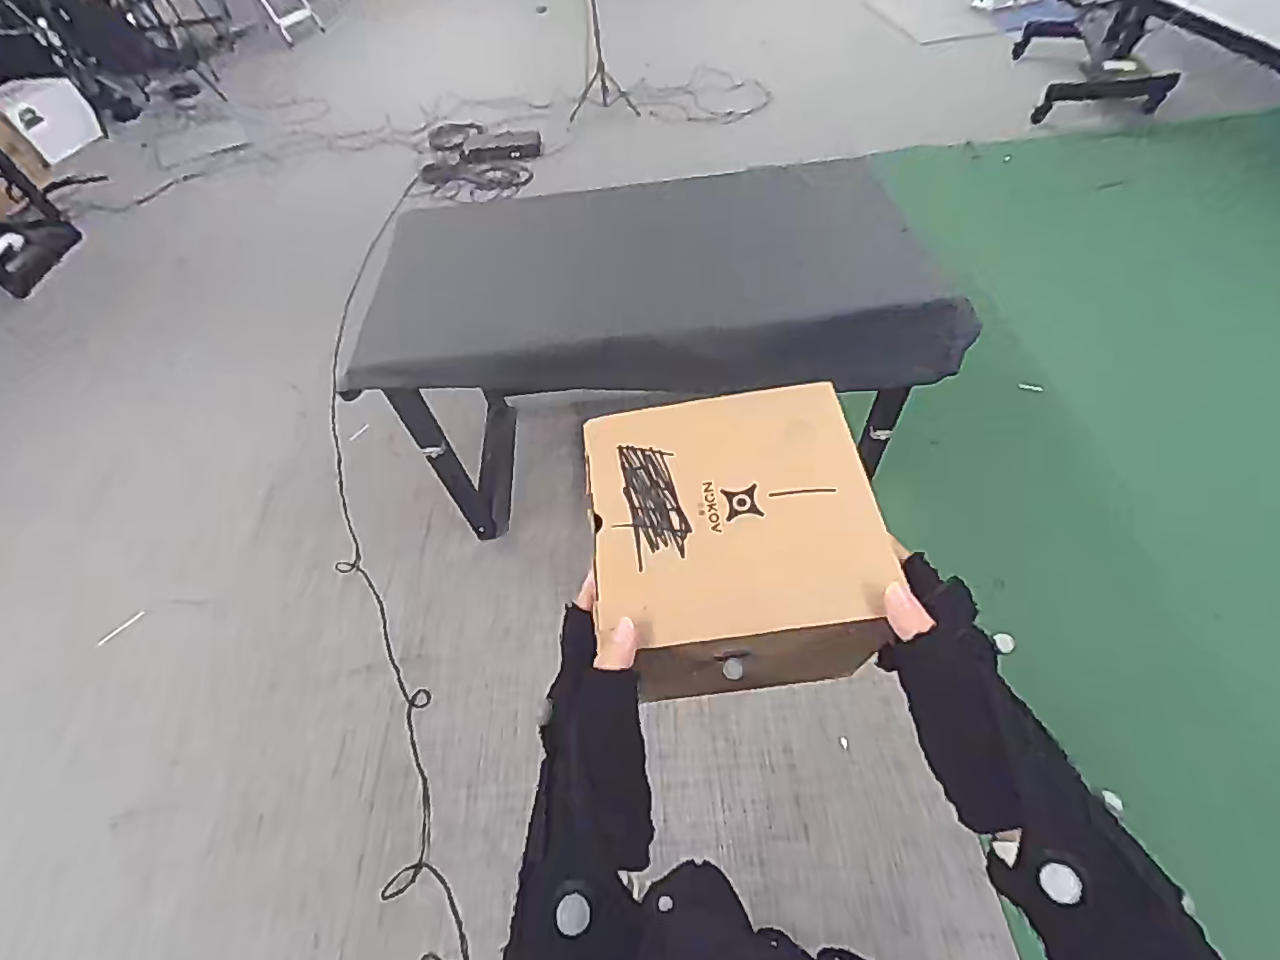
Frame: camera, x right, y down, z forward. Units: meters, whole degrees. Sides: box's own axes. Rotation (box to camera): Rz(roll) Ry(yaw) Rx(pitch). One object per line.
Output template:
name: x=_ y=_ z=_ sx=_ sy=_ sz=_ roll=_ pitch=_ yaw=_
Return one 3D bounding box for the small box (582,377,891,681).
small box: x=0.060 y=0.048 z=0.416 sx=0.179 sy=0.176 sz=0.168 roll=-8 pitch=59 yaw=2
